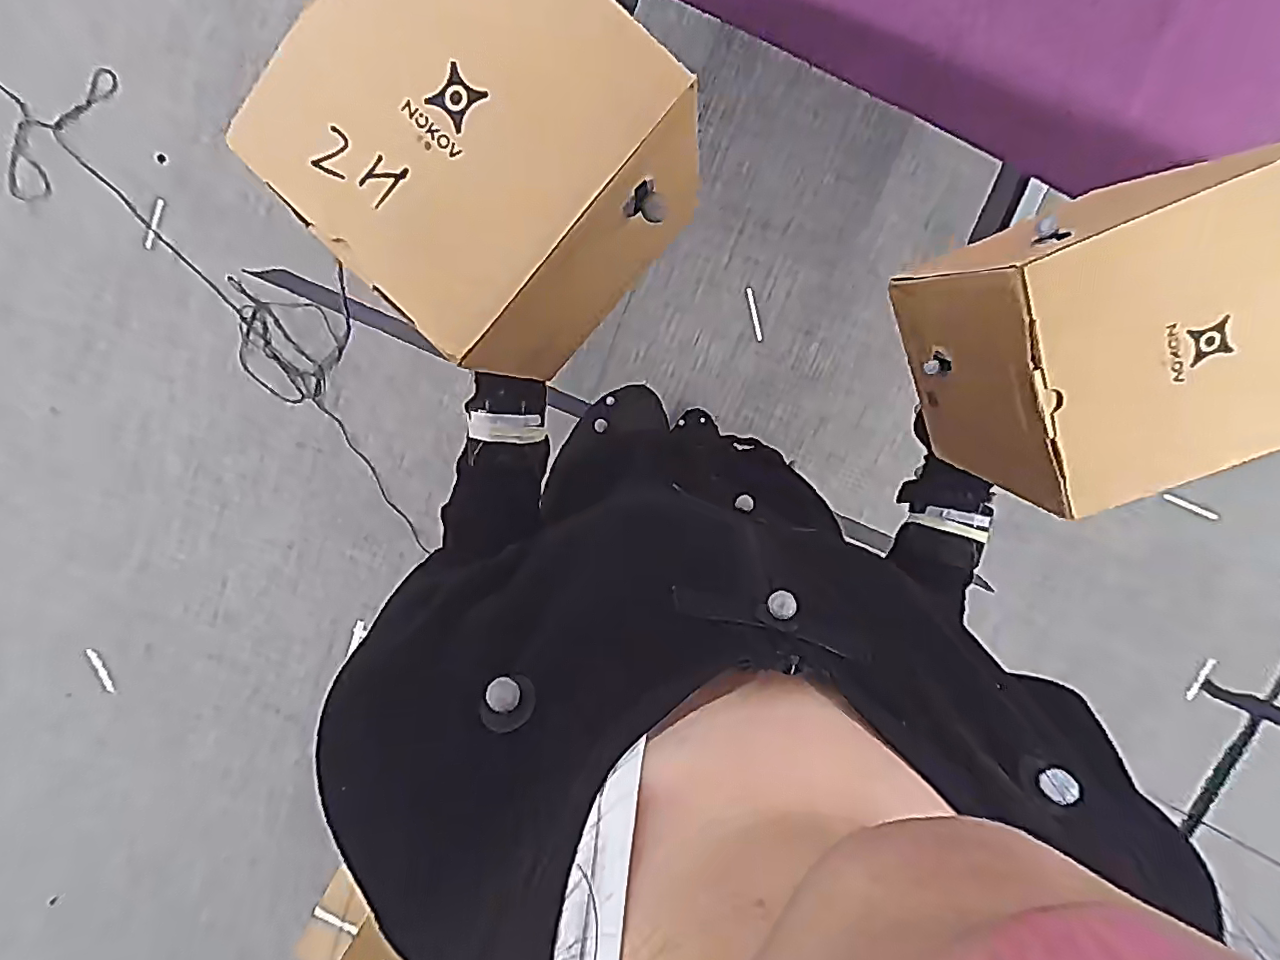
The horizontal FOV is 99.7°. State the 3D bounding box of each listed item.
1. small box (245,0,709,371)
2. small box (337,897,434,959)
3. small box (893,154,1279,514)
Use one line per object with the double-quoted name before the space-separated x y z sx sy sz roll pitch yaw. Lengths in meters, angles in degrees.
"small box" -0.076 -0.188 0.338 0.168 0.176 0.179 44 101 0
"small box" -0.625 1.155 1.286 0.179 0.176 0.168 31 97 -1
"small box" 0.319 -0.104 0.389 0.179 0.176 0.168 -22 106 7
